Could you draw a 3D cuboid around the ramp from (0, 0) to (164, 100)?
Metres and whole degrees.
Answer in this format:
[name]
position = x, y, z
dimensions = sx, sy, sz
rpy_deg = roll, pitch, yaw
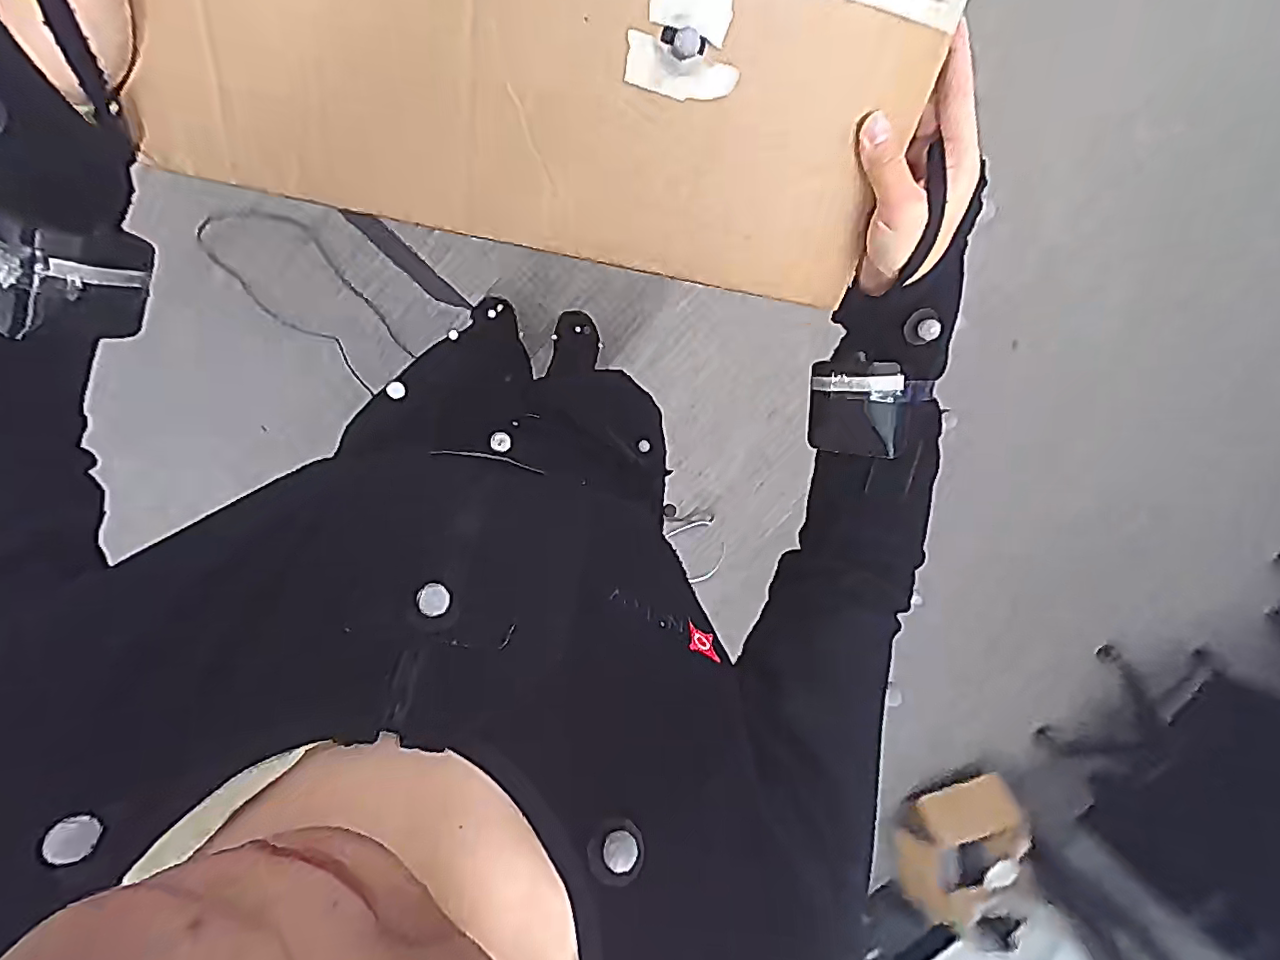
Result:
[ramp]
position = -1.232, -1.186, 0.781
dimensions = 0.991, 0.206, 0.509
rpy_deg = 41, 99, -18
